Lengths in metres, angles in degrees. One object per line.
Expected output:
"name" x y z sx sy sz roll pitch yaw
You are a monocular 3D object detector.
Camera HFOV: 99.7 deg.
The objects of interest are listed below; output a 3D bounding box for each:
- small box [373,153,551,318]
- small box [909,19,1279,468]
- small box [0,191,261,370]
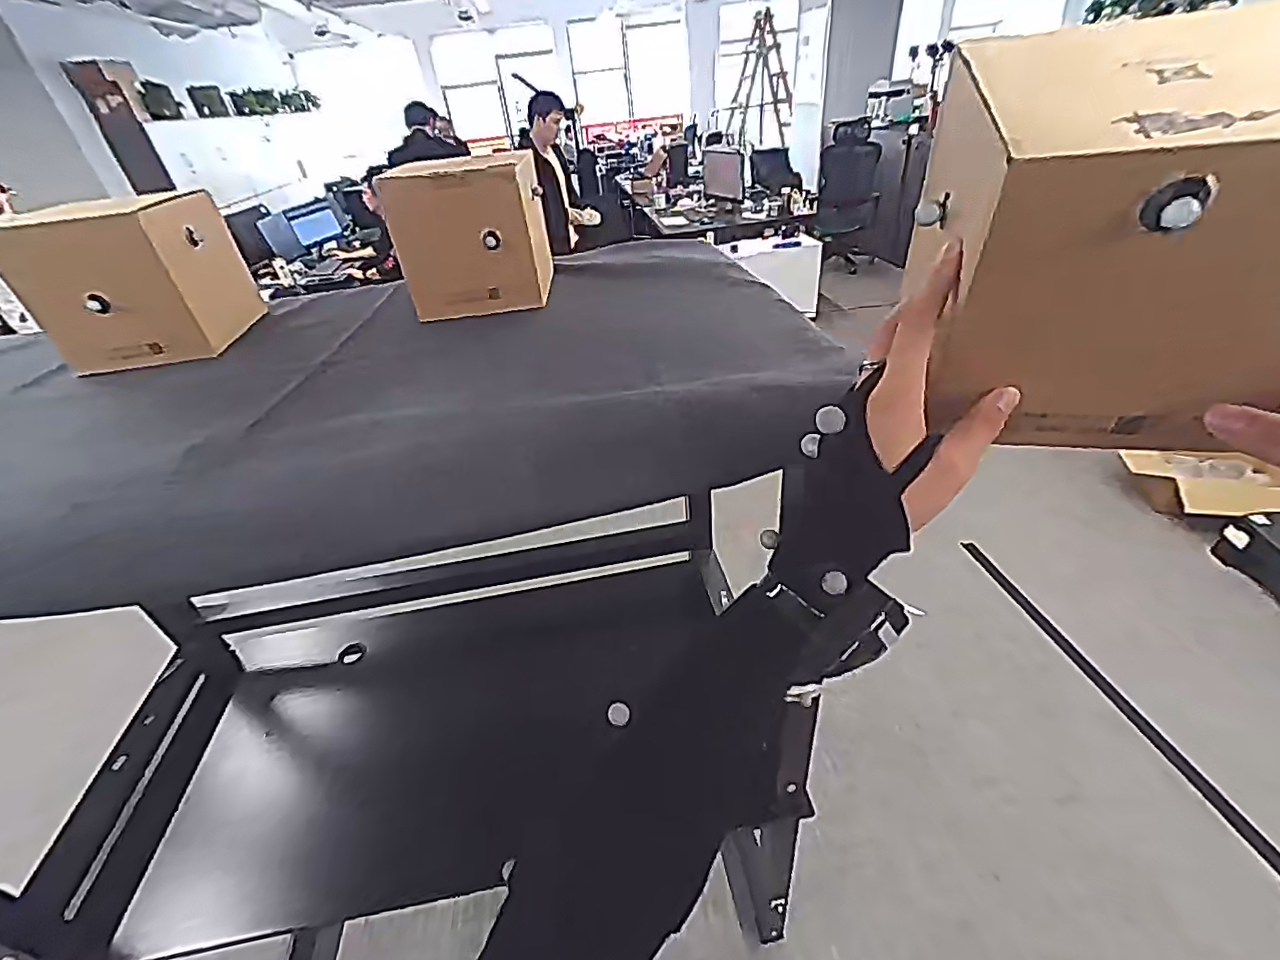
"small box" -0.217 -0.321 0.718 0.168 0.176 0.179 -6 35 0
"small box" 0.265 -0.130 0.310 0.168 0.176 0.179 4 50 15
"small box" -0.622 -0.247 0.677 0.168 0.176 0.179 -10 36 -5
